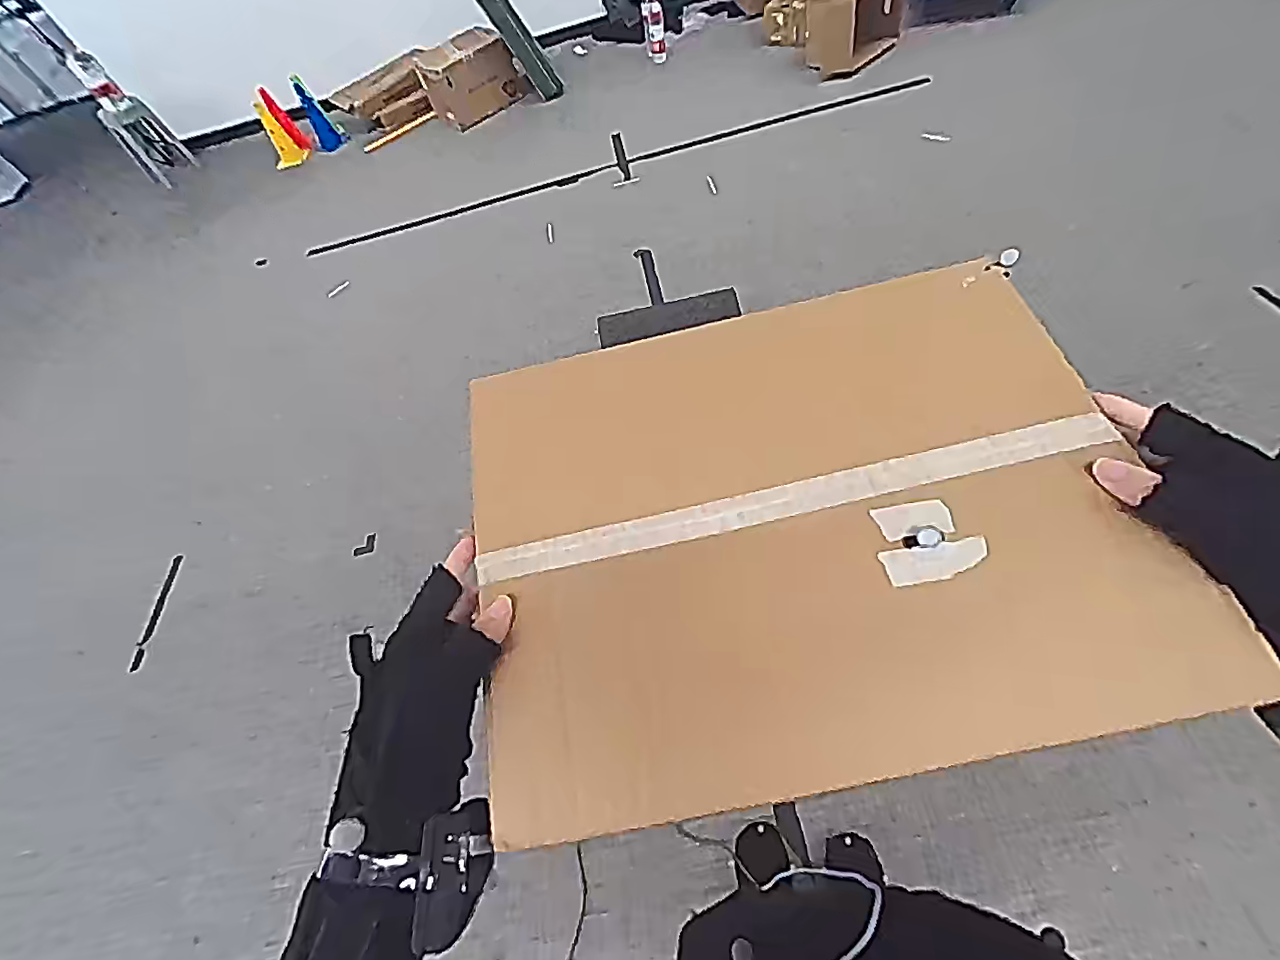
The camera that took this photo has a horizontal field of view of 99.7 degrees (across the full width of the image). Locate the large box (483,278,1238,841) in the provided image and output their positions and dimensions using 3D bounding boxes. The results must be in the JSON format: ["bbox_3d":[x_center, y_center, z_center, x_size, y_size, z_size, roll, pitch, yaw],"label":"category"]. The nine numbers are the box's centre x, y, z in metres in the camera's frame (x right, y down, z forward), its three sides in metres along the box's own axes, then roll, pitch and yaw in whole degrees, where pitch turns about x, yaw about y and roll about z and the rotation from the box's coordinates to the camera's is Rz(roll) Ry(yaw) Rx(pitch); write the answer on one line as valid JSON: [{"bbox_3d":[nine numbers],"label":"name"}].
[{"bbox_3d":[0.114,0.085,0.488,0.408,0.320,0.320,-13,63,2],"label":"large box"}]
